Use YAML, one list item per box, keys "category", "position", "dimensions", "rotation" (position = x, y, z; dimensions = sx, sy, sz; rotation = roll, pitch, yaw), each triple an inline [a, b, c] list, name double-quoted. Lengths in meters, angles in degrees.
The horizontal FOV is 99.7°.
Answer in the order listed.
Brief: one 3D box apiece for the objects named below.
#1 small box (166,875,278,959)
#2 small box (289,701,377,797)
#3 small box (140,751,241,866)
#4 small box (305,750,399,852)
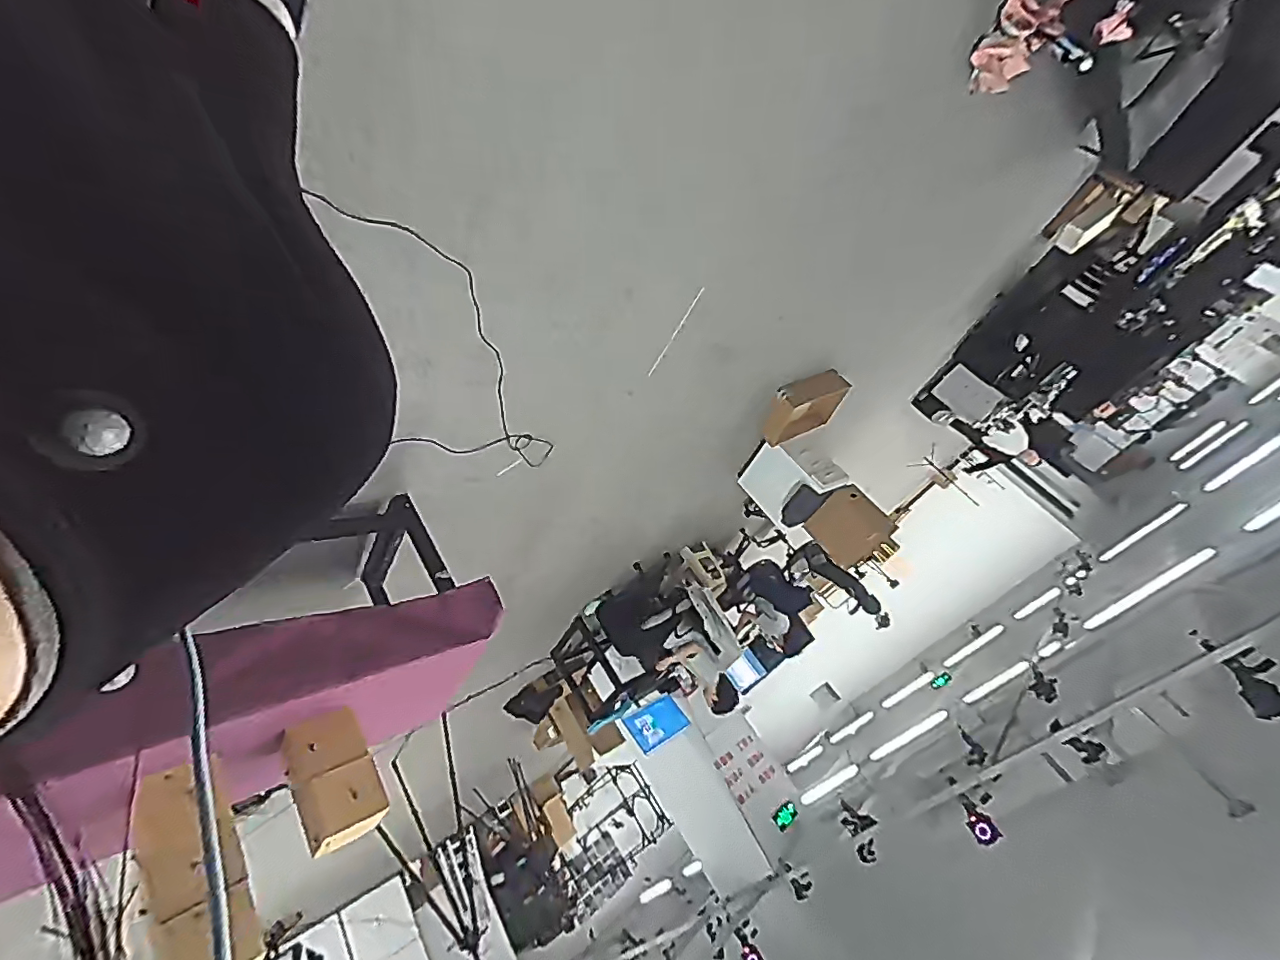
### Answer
- category: "small box"
  position: [-0.963, 1.057, 1.241]
  dimensions: [0.168, 0.176, 0.179]
  rotation: [-7, 140, -50]
- category: "small box"
  position: [-0.933, 0.805, 1.633]
  dimensions: [0.179, 0.176, 0.168]
  rotation: [-6, 141, -49]
- category: "small box"
  position: [-1.151, 0.826, 1.380]
  dimensions: [0.168, 0.176, 0.179]
  rotation: [-5, 139, -50]
- category: "small box"
  position: [-0.837, 0.920, 1.565]
  dimensions: [0.179, 0.176, 0.168]
  rotation: [-6, 140, -49]
